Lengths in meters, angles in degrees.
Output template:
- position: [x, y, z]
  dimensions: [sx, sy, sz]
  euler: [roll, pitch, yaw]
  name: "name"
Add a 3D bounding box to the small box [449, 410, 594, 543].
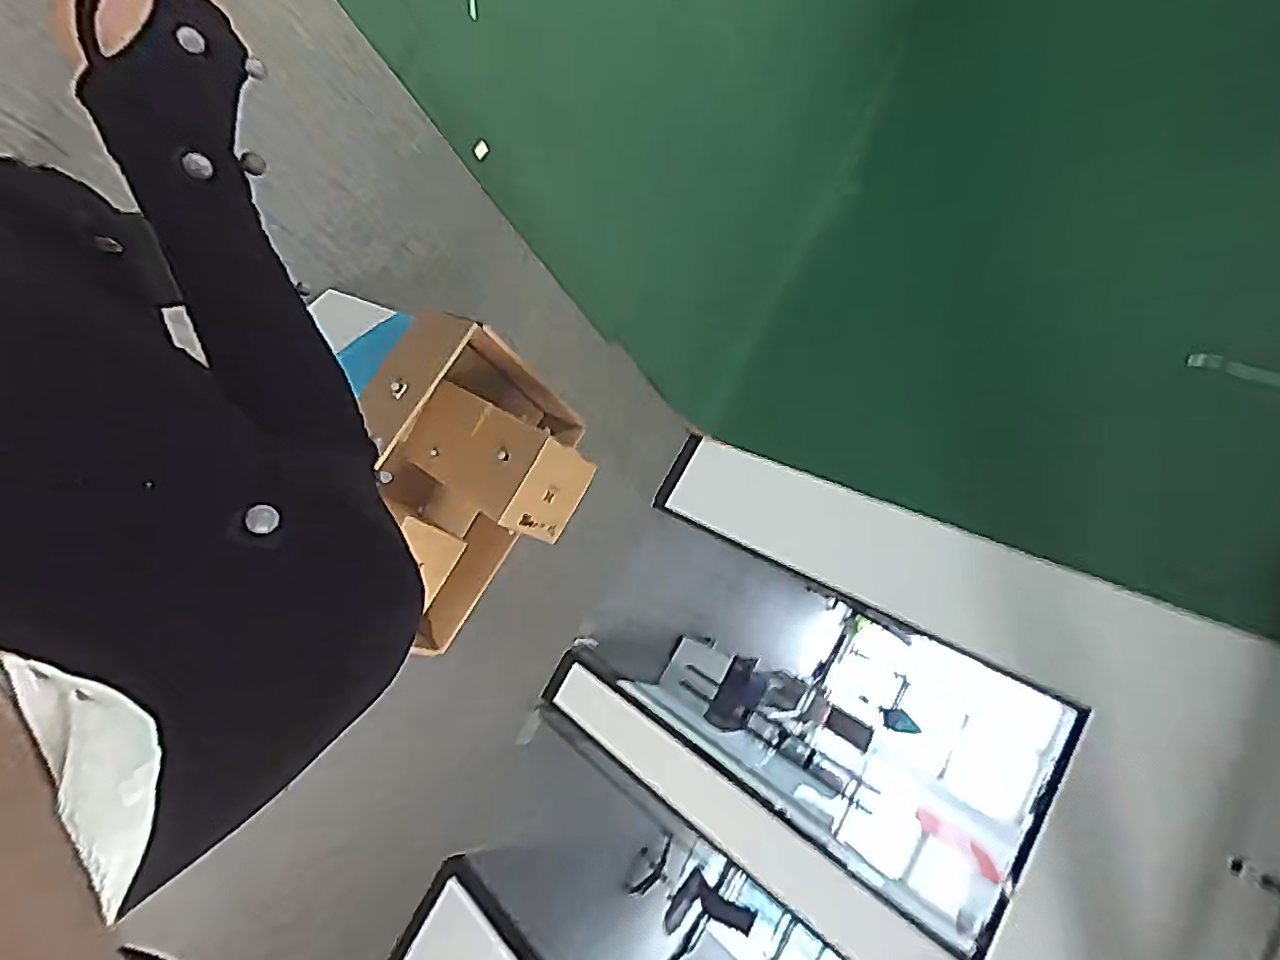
- position: [-0.226, -0.009, 1.023]
  dimensions: [0.179, 0.176, 0.168]
  euler: [-61, 147, -4]
  name: "small box"
